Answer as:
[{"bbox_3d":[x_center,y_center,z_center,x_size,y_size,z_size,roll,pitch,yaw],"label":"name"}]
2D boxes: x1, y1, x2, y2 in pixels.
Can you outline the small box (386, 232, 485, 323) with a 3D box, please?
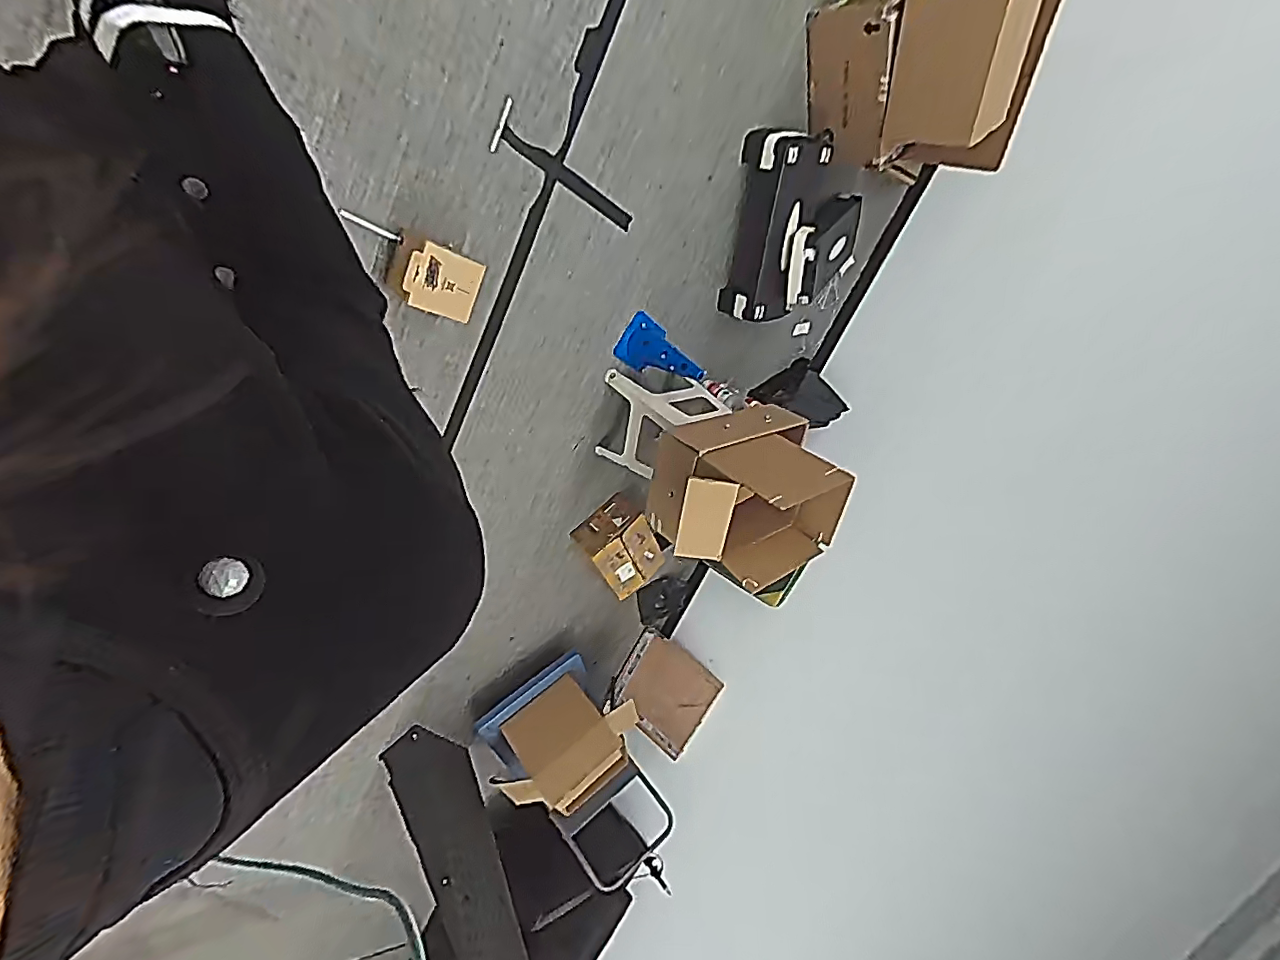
[{"bbox_3d":[-0.557,-0.549,1.459,0.179,0.176,0.168,7,114,-49],"label":"small box"}]
